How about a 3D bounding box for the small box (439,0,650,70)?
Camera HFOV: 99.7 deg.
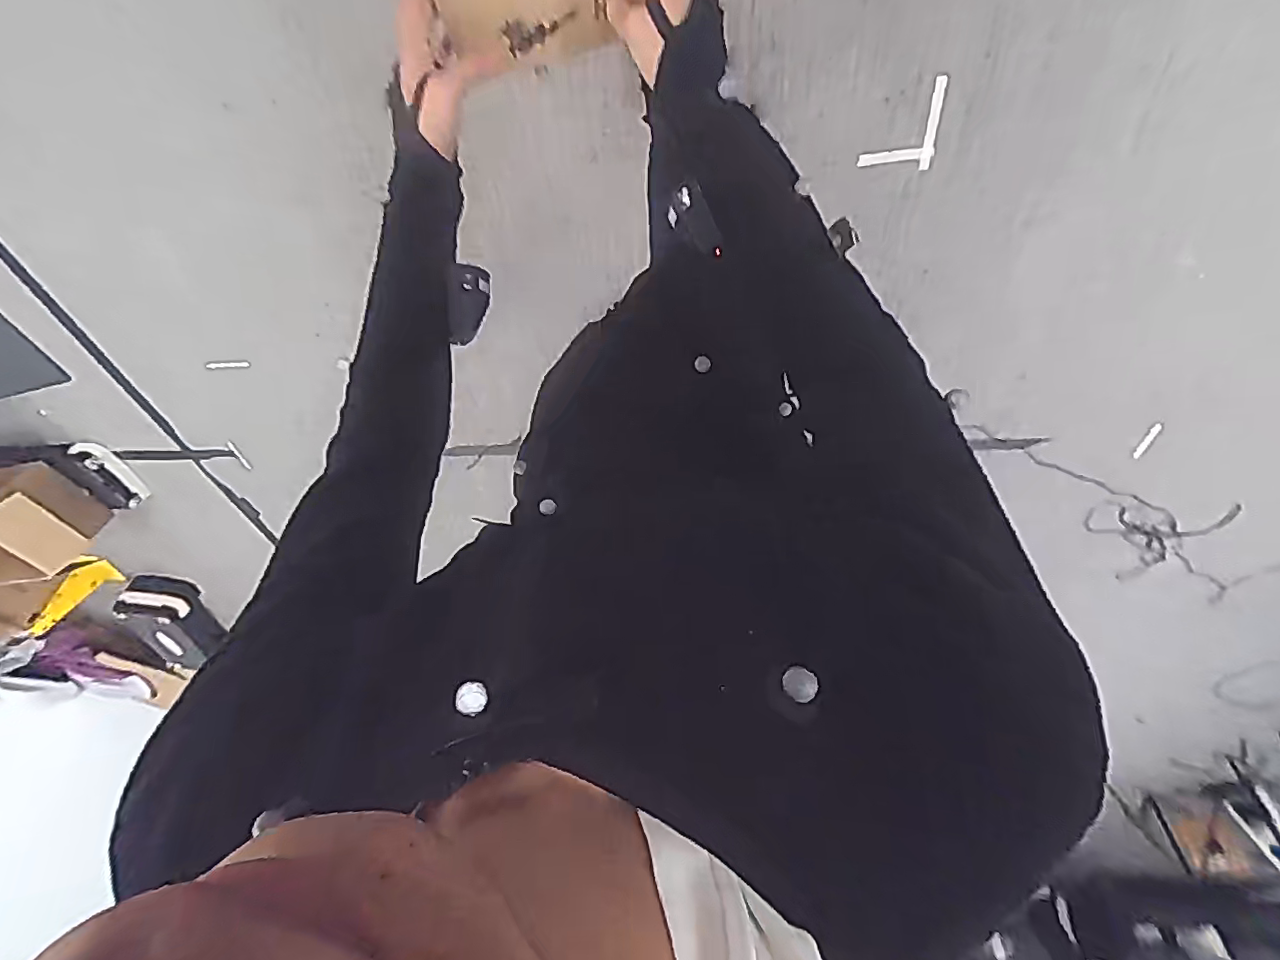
[{"bbox_3d":[-0.090,-0.480,0.445,0.168,0.176,0.179,-9,139,8],"label":"small box"}]
